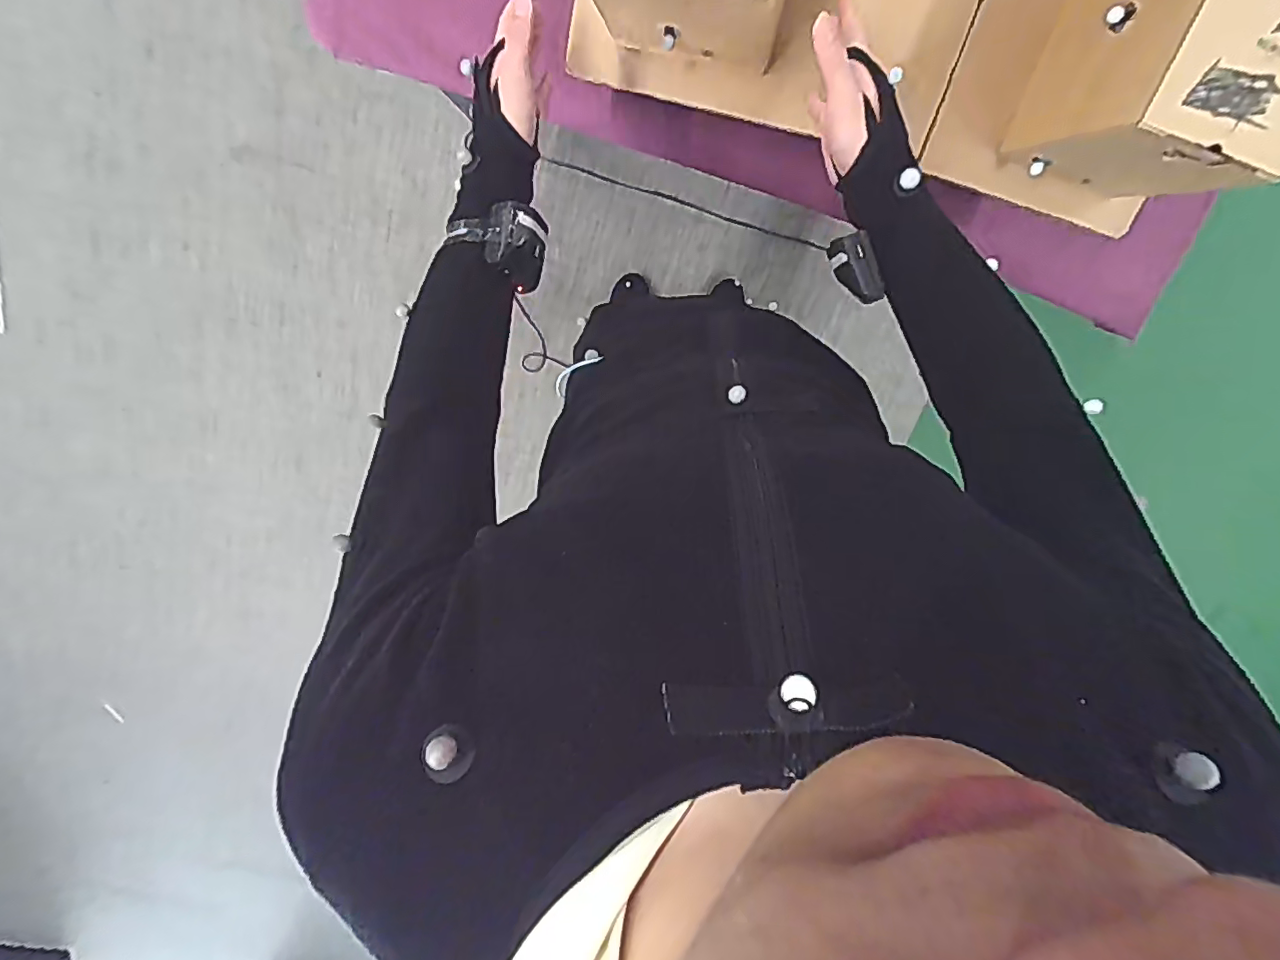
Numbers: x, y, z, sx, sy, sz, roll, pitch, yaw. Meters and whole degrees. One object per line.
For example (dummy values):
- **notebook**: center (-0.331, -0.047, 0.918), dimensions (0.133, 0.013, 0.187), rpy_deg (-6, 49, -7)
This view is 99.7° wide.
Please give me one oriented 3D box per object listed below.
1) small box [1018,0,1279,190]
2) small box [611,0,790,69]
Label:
- **small box**: center (0.503, -0.387, 0.500), dimensions (0.168, 0.176, 0.179), rpy_deg (11, 111, -11)
- **small box**: center (0.062, -0.491, 0.457), dimensions (0.168, 0.176, 0.179), rpy_deg (14, 114, 5)
